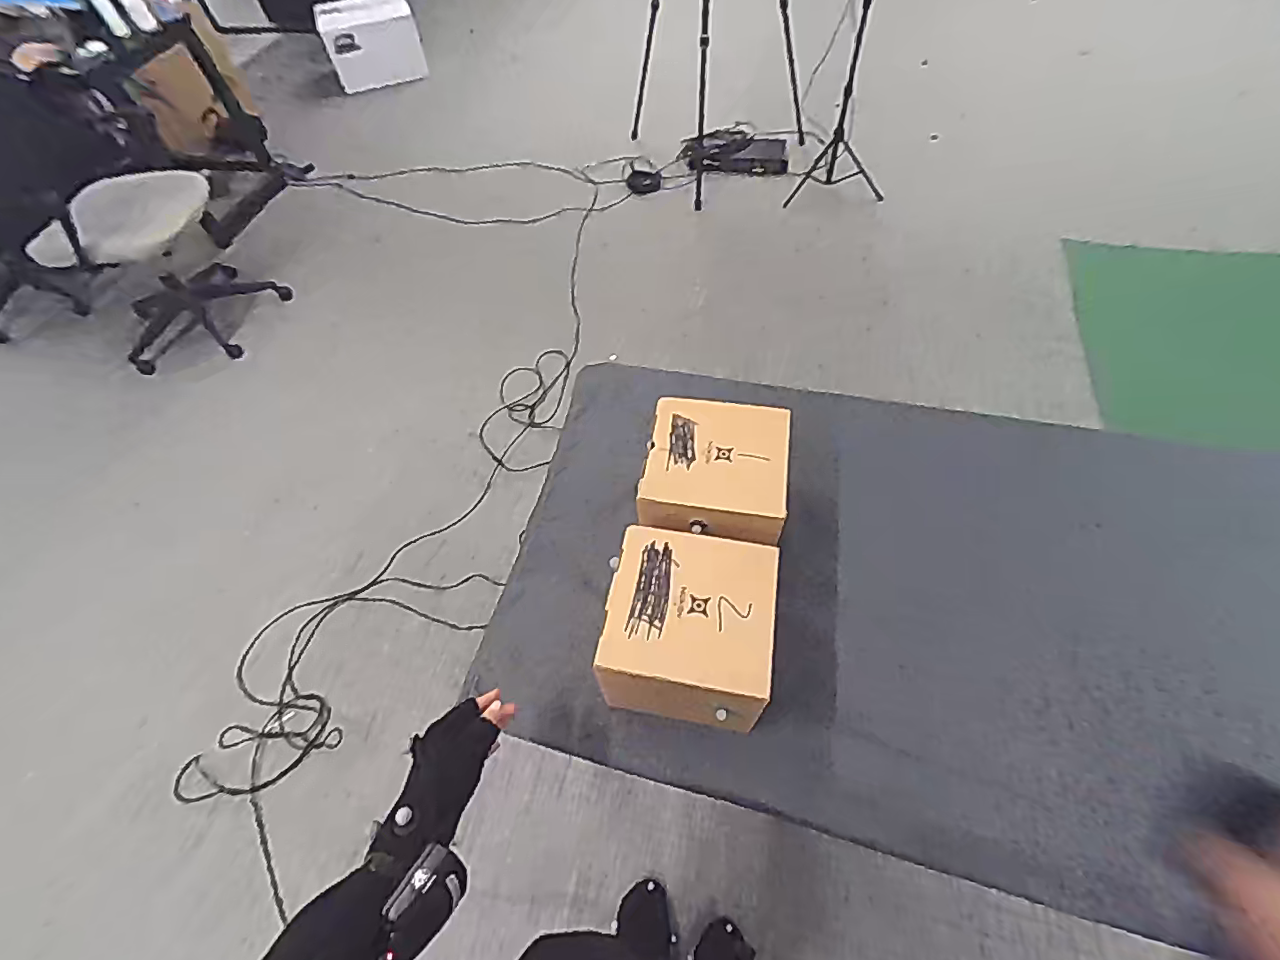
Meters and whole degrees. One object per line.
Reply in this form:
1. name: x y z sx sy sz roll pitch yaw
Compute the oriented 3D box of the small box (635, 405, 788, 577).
1. small box: 0.098 0.019 0.741 0.179 0.176 0.168 7 57 9
